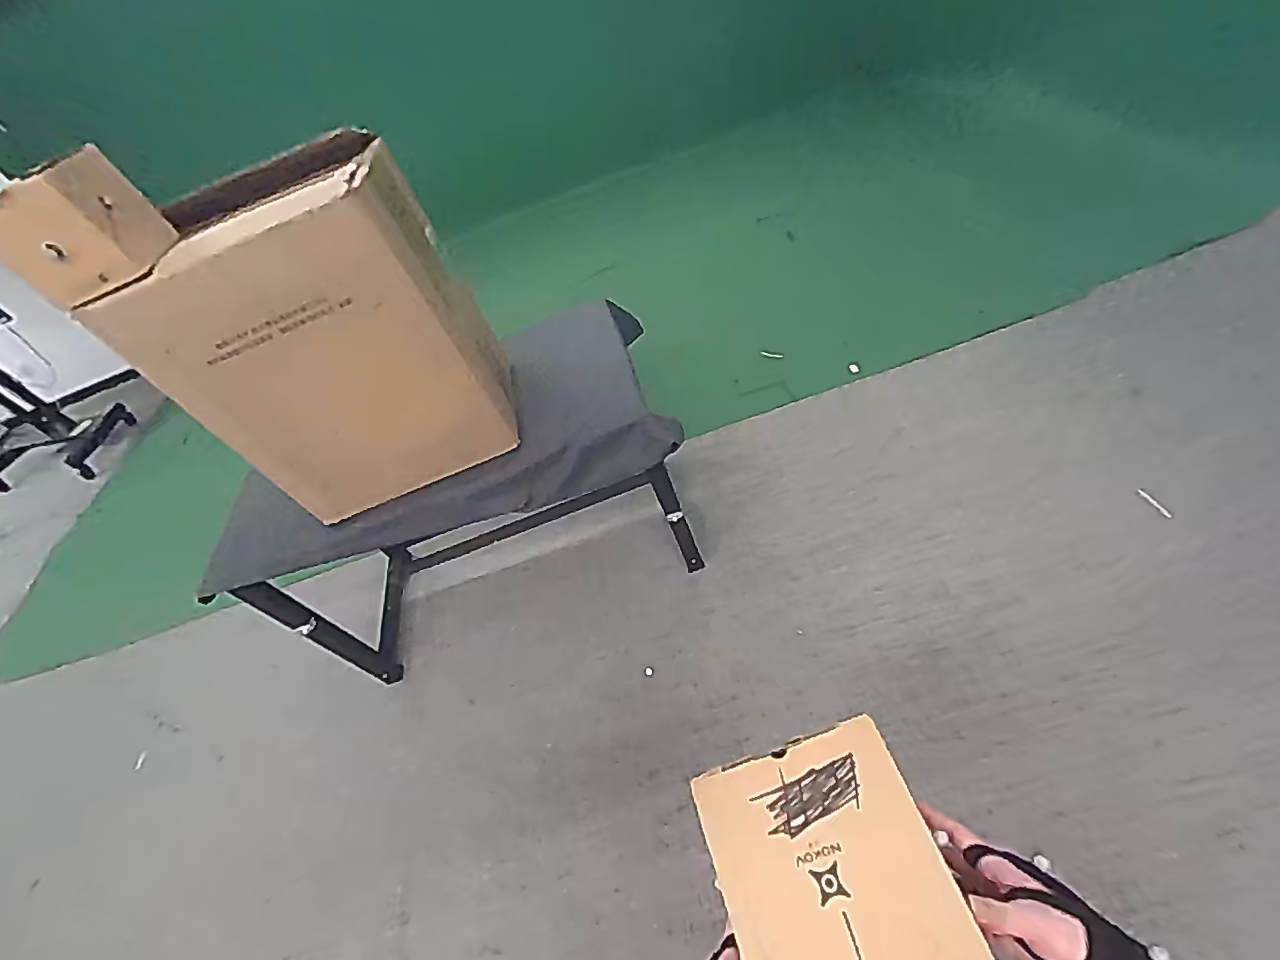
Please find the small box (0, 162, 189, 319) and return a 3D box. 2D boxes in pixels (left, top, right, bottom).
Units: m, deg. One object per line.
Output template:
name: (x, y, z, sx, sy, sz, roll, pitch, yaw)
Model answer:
small box: (-0.935, -0.402, 0.927, 0.168, 0.176, 0.179, -23, 46, 4)
